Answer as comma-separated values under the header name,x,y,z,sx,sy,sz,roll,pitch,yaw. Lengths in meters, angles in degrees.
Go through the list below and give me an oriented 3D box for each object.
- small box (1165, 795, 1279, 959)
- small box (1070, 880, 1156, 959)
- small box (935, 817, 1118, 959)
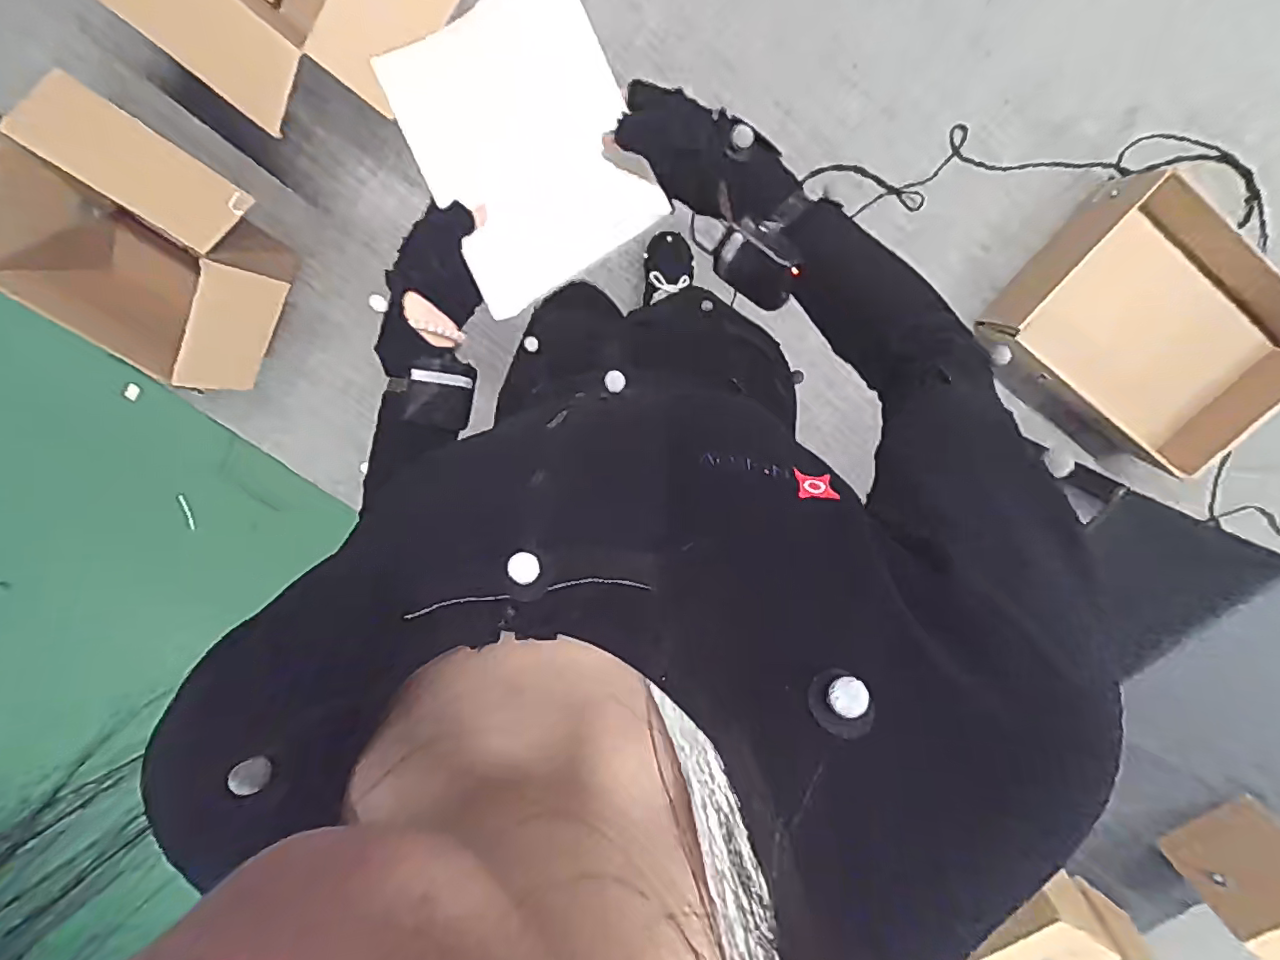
name,x,y,z,sx,sy,sz,roll,pitch,yaw
small box,1.053,0.679,0.908,0.168,0.176,0.179,39,110,-13
small box,0.843,0.893,1.009,0.179,0.176,0.168,39,108,-13
small box,0.656,0.745,0.950,0.168,0.176,0.179,37,109,-14
